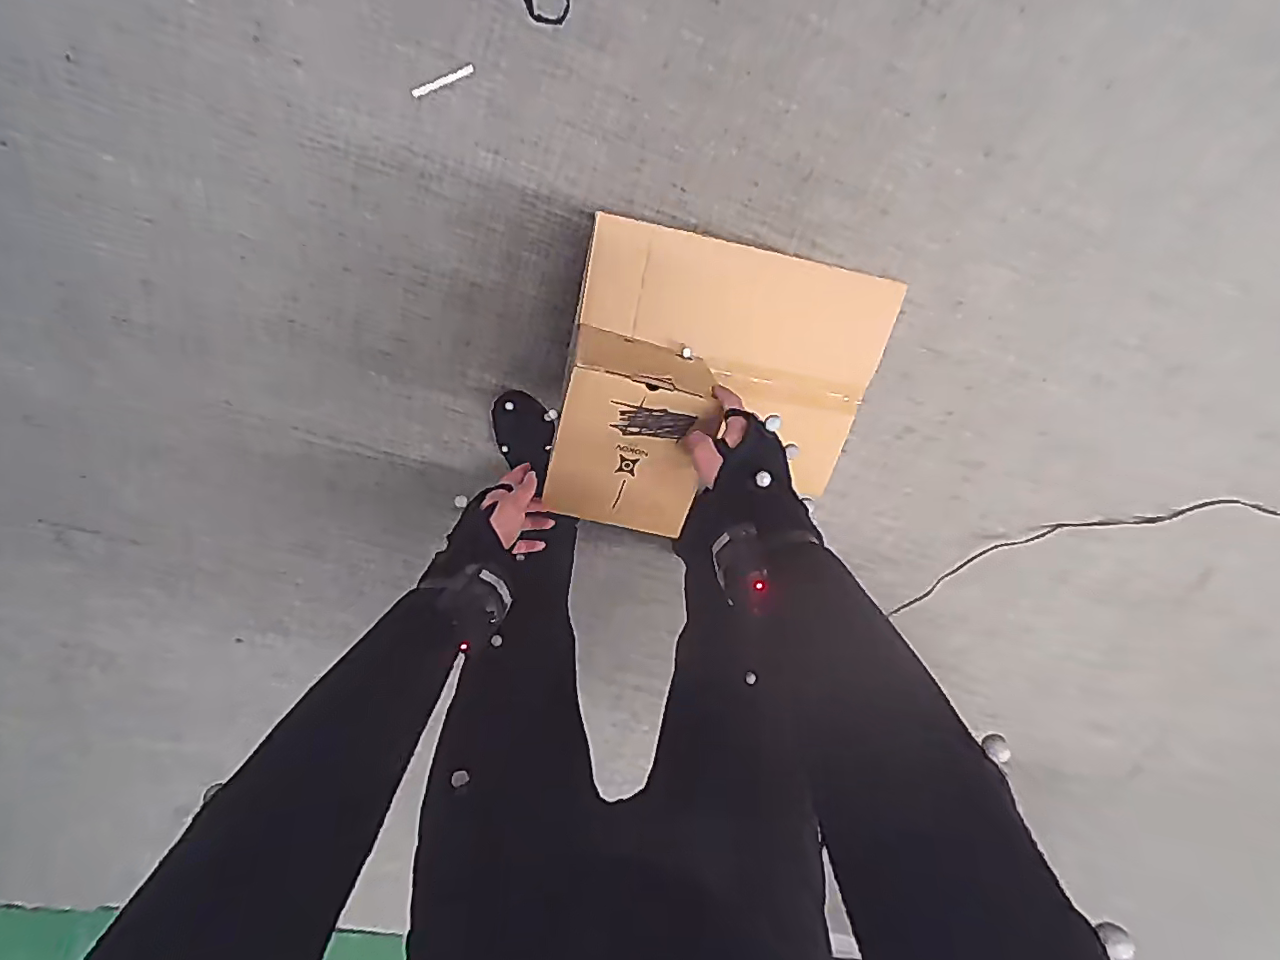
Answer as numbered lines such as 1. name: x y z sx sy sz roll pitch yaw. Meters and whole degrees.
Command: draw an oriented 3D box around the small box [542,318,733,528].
1. small box: -0.012 -0.074 0.639 0.168 0.176 0.179 14 117 -11
